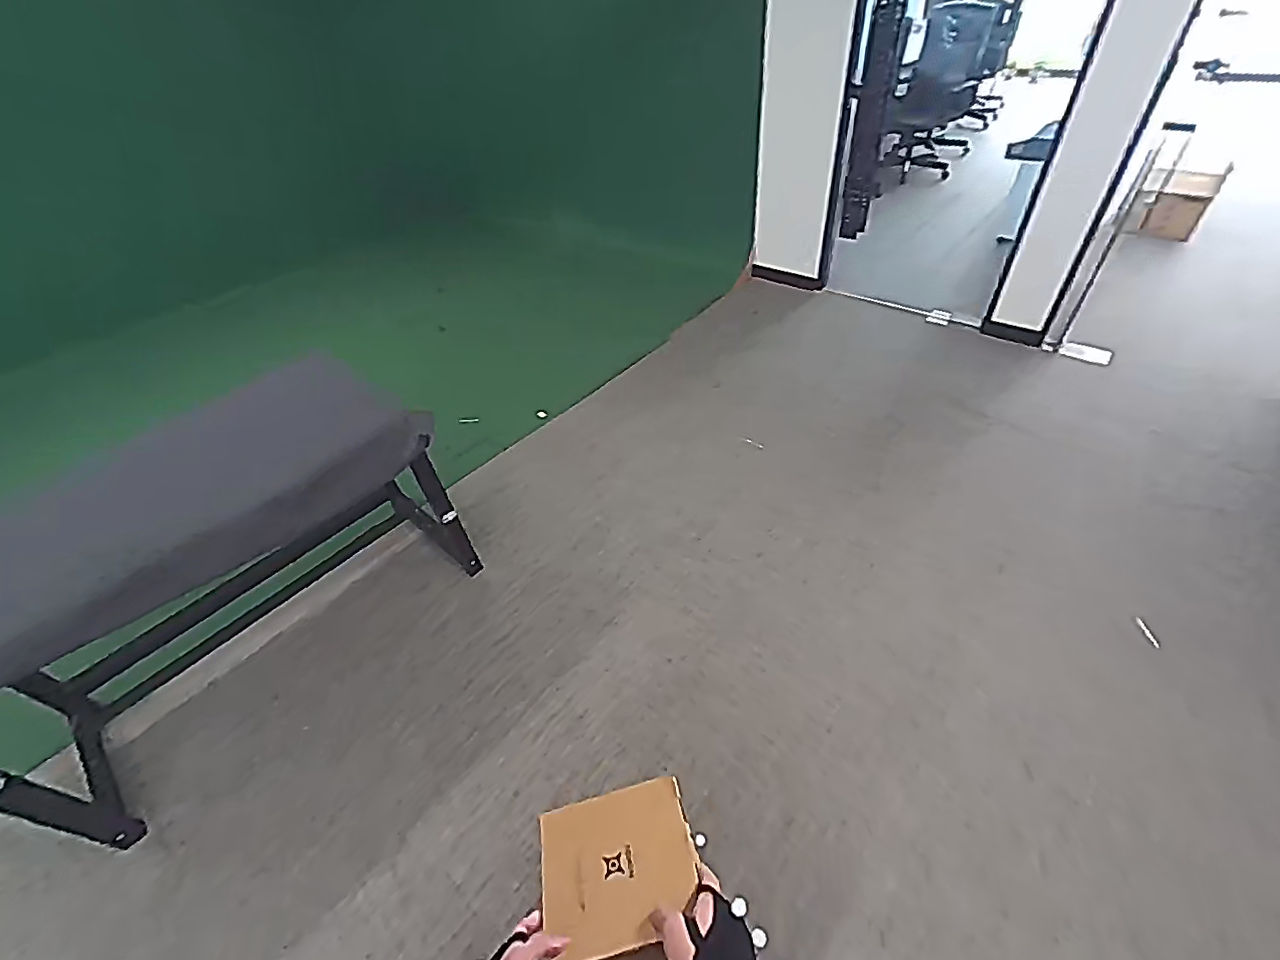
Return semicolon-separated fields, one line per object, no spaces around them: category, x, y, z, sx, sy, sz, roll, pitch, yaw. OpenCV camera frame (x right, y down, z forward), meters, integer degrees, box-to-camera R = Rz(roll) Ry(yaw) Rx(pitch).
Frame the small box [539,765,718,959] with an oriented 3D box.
small box;-0.012;0.482;0.642;0.179;0.176;0.168;-15;27;-2
